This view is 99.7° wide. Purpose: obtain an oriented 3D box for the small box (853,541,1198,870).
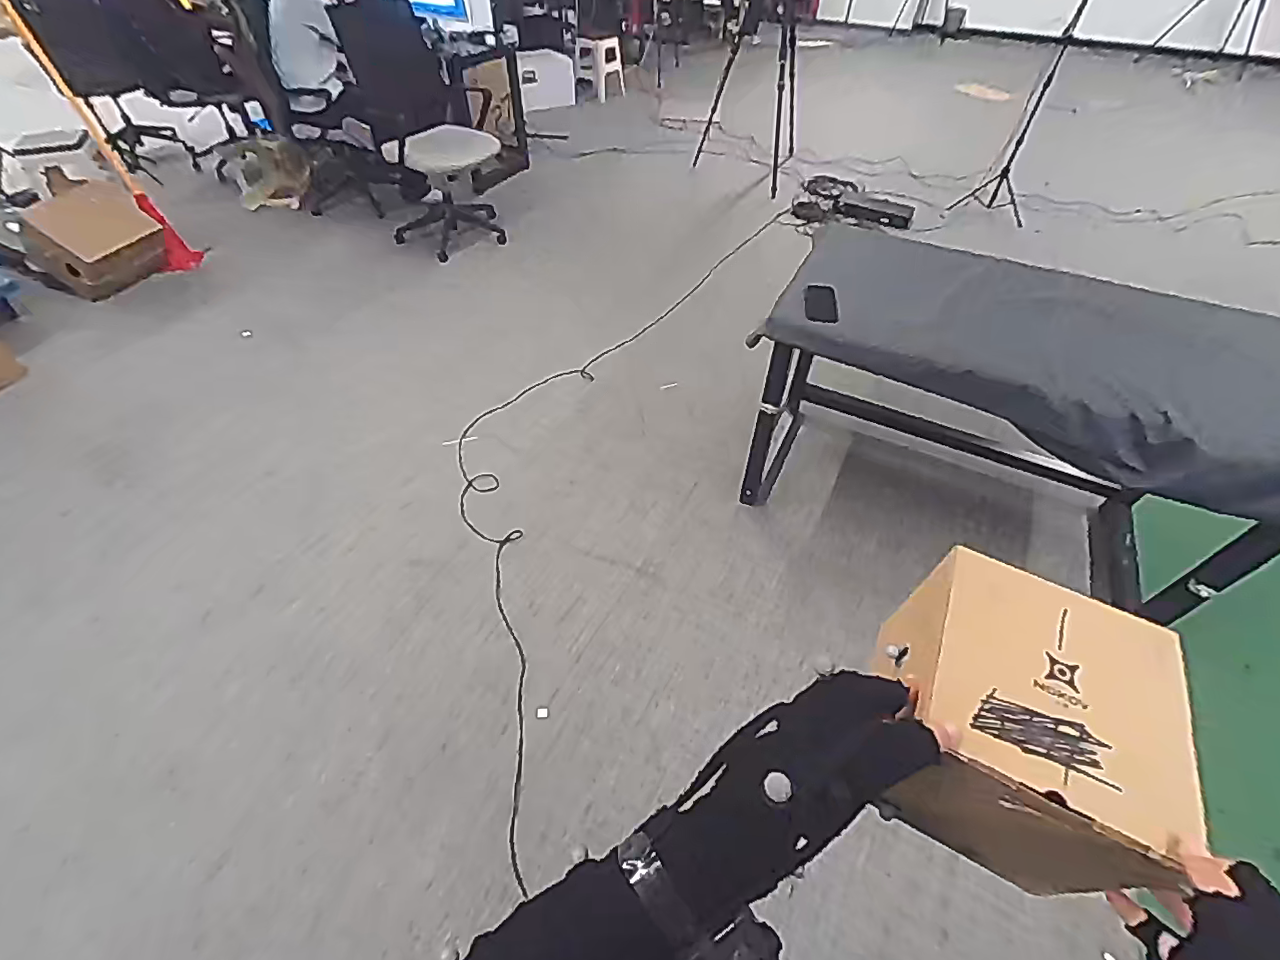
[{"bbox_3d":[0.299,0.191,0.456,0.168,0.176,0.179,24,52,15],"label":"small box"}]
